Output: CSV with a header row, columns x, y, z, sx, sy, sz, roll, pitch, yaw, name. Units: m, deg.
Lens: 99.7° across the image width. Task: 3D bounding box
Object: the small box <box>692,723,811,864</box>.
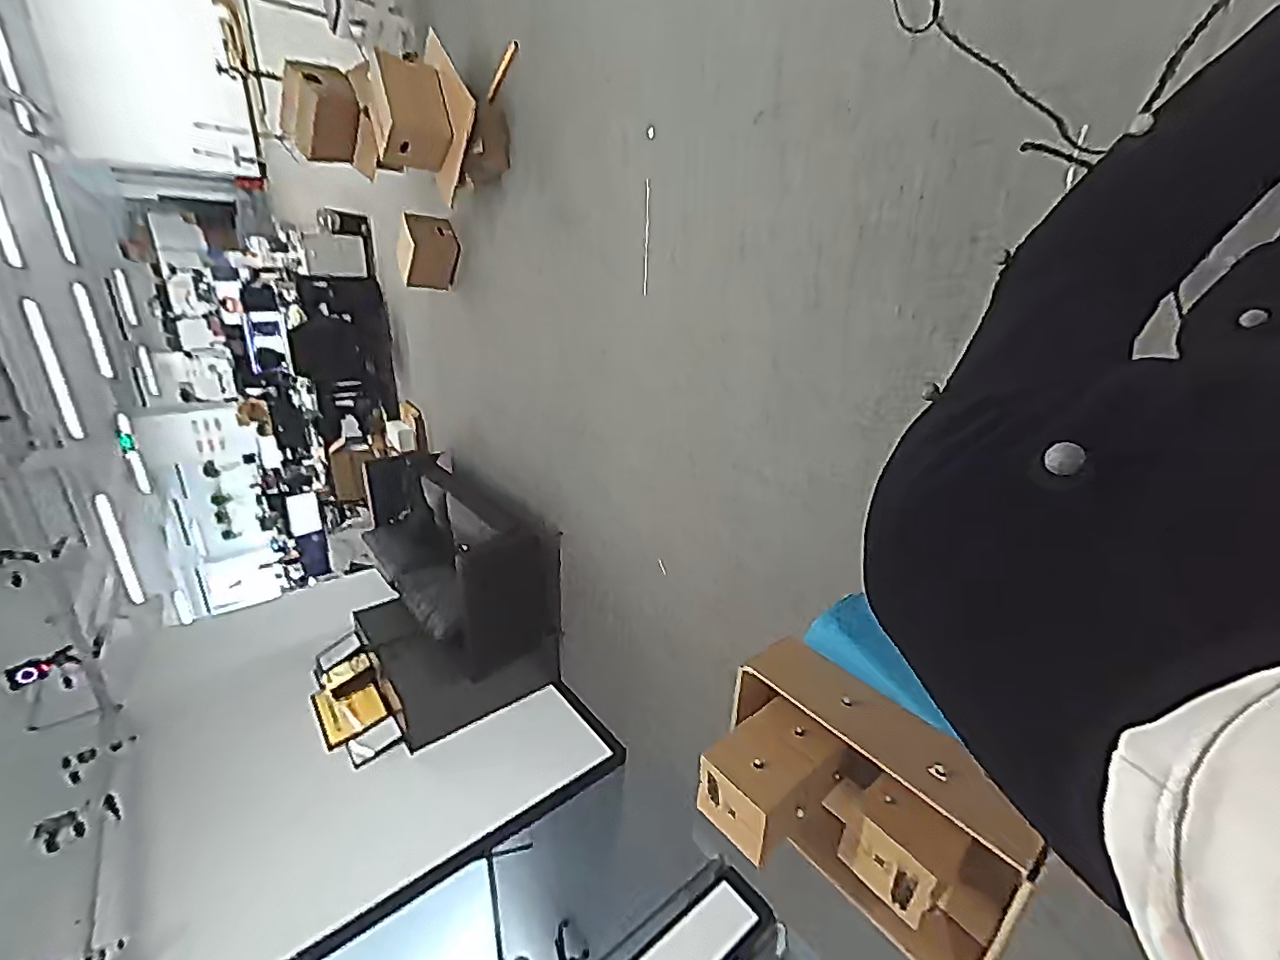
x,y,z,sx,sy,sz,roll,pitch,yaw,name
0.236,0.657,1.163,0.179,0.176,0.168,26,124,44,small box
